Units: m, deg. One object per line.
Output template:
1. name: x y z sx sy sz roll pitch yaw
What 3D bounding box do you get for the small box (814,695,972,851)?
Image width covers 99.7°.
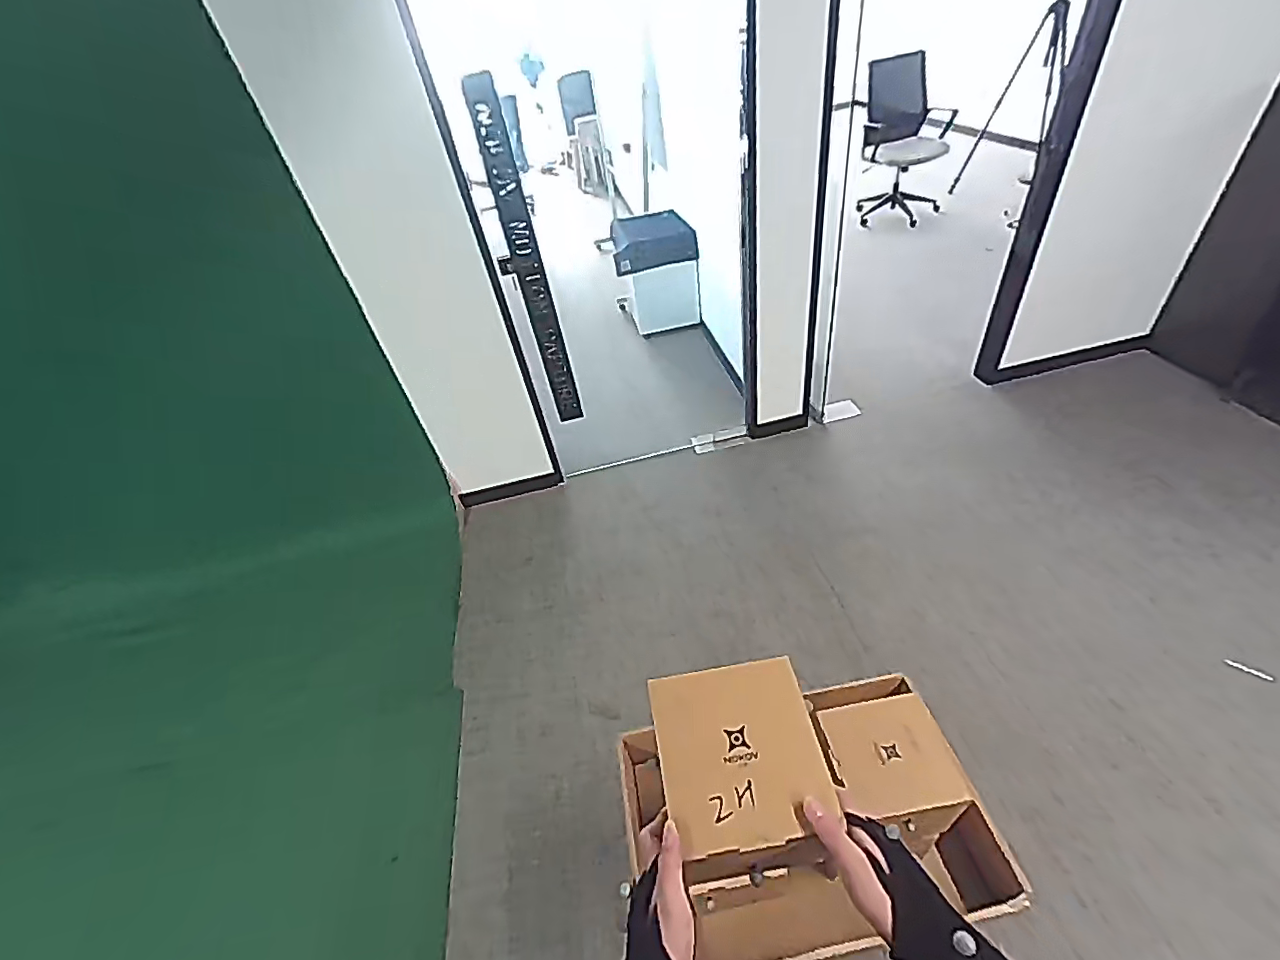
1. small box: 0.393 0.481 0.884 0.179 0.176 0.168 -10 43 -1

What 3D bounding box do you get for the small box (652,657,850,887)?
1. small box: 0.108 0.328 0.608 0.168 0.176 0.179 -9 47 -2
